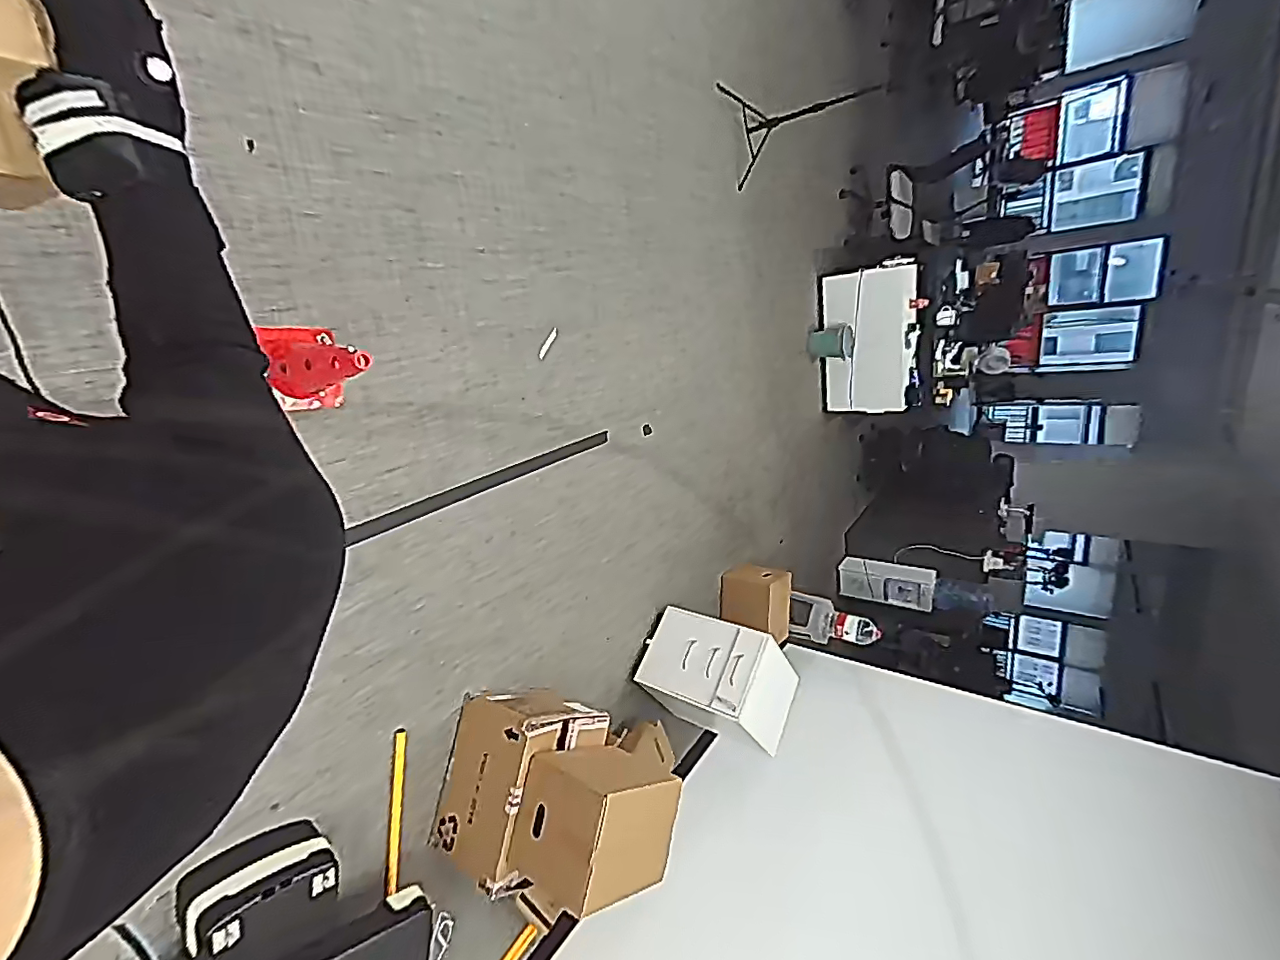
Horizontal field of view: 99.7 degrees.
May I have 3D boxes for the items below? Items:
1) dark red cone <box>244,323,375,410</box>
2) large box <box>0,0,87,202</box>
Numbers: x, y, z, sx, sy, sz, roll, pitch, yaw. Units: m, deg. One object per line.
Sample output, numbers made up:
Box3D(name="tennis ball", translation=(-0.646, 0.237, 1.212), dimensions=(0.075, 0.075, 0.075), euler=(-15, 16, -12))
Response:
Box3D(name="dark red cone", translation=(-0.709, -0.264, 1.218), dimensions=(0.201, 0.394, 0.202), euler=(-18, 109, -49))
Box3D(name="large box", translation=(-0.638, -0.346, 0.276), dimensions=(0.408, 0.320, 0.320), euler=(-23, 122, -50))
